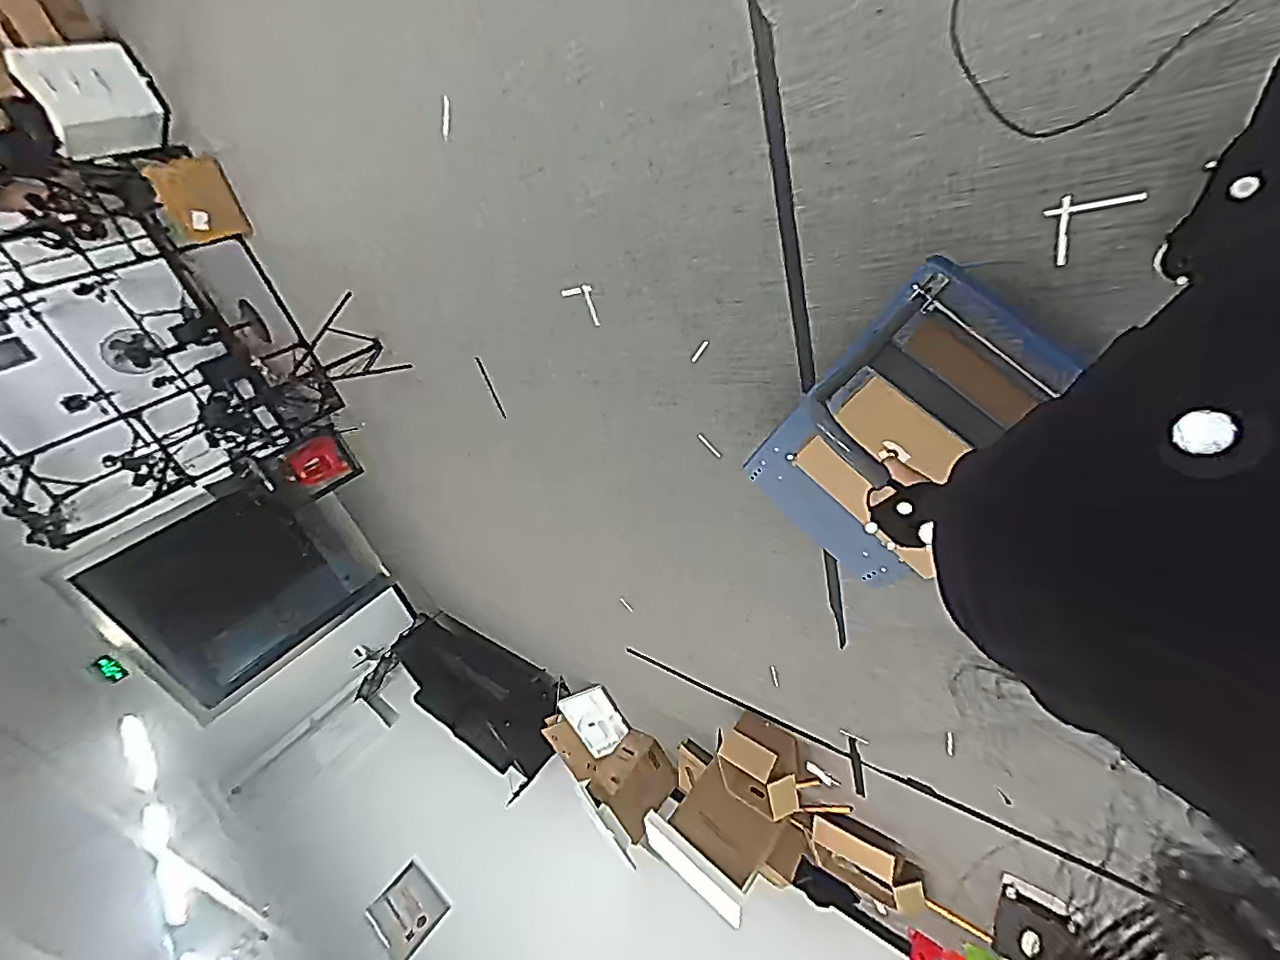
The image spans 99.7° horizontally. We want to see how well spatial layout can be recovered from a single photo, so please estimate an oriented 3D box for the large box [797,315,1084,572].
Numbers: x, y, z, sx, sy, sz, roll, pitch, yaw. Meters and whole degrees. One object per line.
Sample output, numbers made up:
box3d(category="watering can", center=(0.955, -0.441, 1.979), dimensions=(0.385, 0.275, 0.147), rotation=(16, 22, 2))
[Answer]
box3d(category="large box", center=(0.647, -0.081, 1.191), dimensions=(0.408, 0.320, 0.320), rotation=(44, 144, 9))
